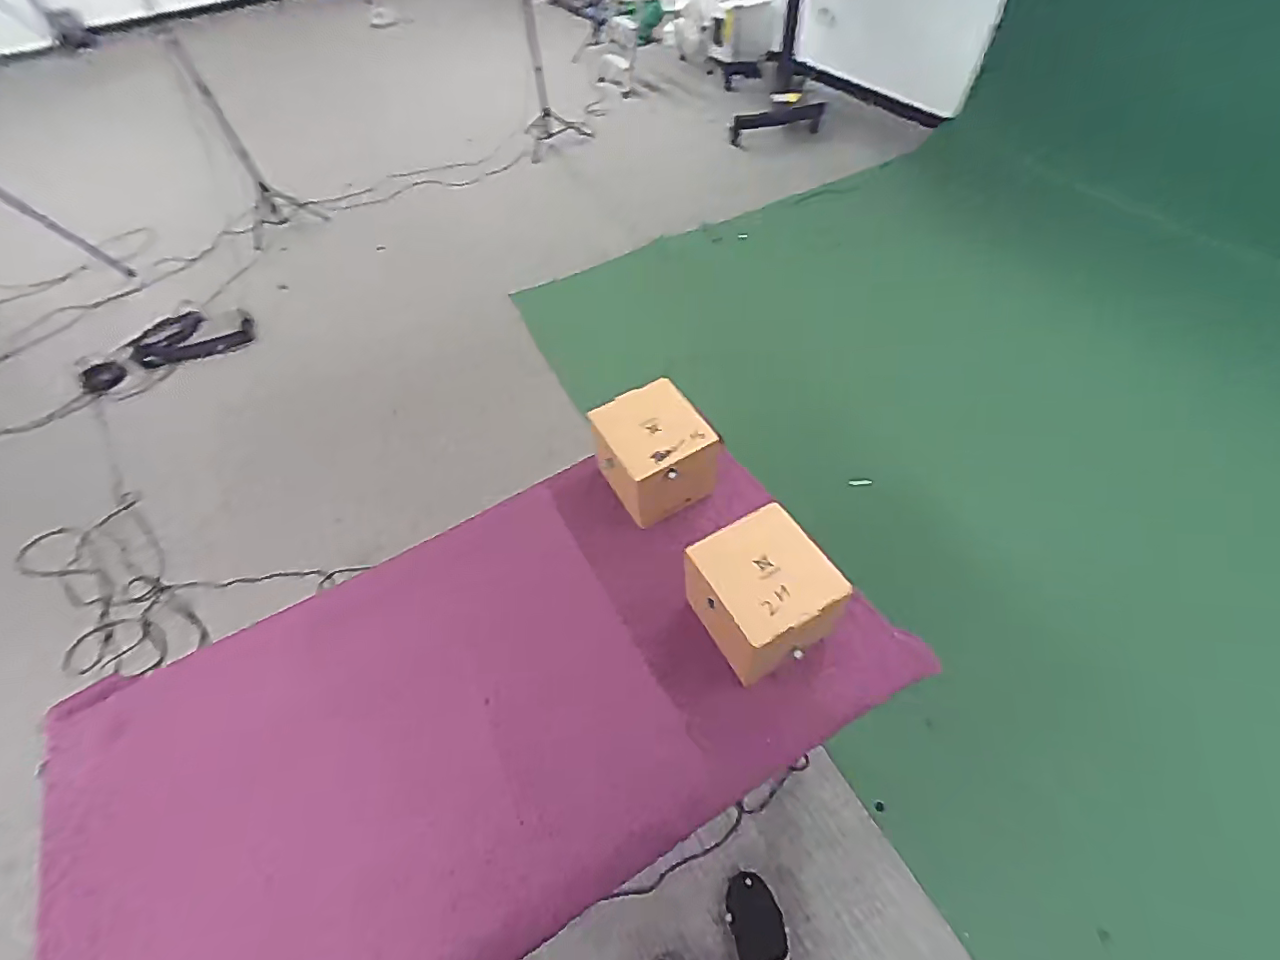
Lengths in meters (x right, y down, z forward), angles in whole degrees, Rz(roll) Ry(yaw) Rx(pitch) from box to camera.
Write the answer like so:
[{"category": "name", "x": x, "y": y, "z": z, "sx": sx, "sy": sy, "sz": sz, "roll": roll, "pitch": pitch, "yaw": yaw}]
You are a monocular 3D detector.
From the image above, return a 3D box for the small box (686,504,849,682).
[{"category": "small box", "x": 0.182, "y": 0.176, "z": 0.828, "sx": 0.168, "sy": 0.176, "sz": 0.179, "roll": -26, "pitch": 55, "yaw": -13}]

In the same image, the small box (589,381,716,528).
[{"category": "small box", "x": 0.023, "y": -0.044, "z": 1.000, "sx": 0.168, "sy": 0.176, "sz": 0.179, "roll": -28, "pitch": 58, "yaw": -13}]
